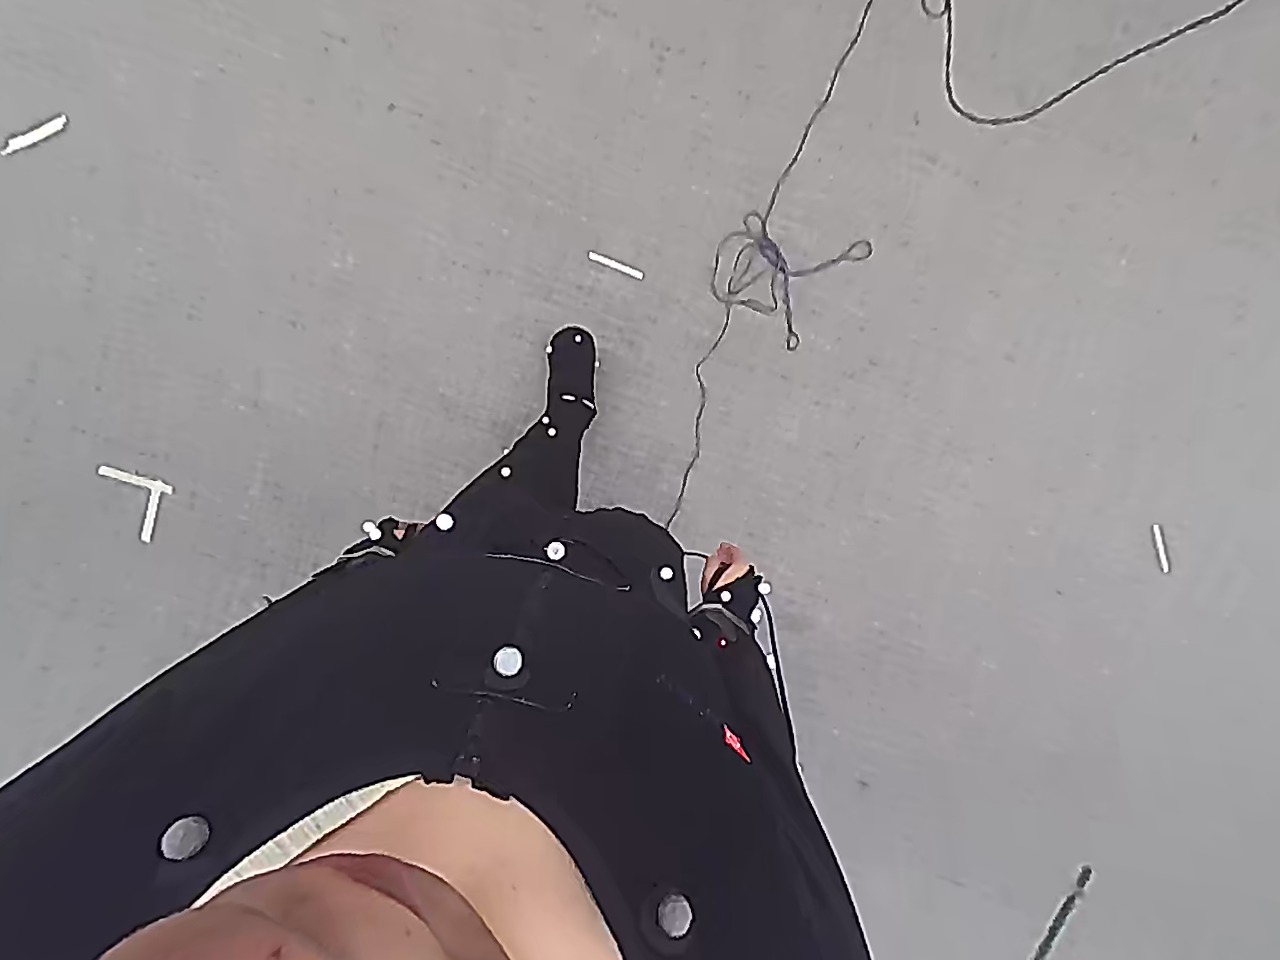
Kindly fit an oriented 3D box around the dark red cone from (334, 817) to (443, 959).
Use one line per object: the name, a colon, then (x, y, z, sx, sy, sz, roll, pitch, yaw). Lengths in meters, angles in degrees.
dark red cone: (-0.627, 1.017, 1.266, 0.201, 0.394, 0.202, 19, 96, -6)
